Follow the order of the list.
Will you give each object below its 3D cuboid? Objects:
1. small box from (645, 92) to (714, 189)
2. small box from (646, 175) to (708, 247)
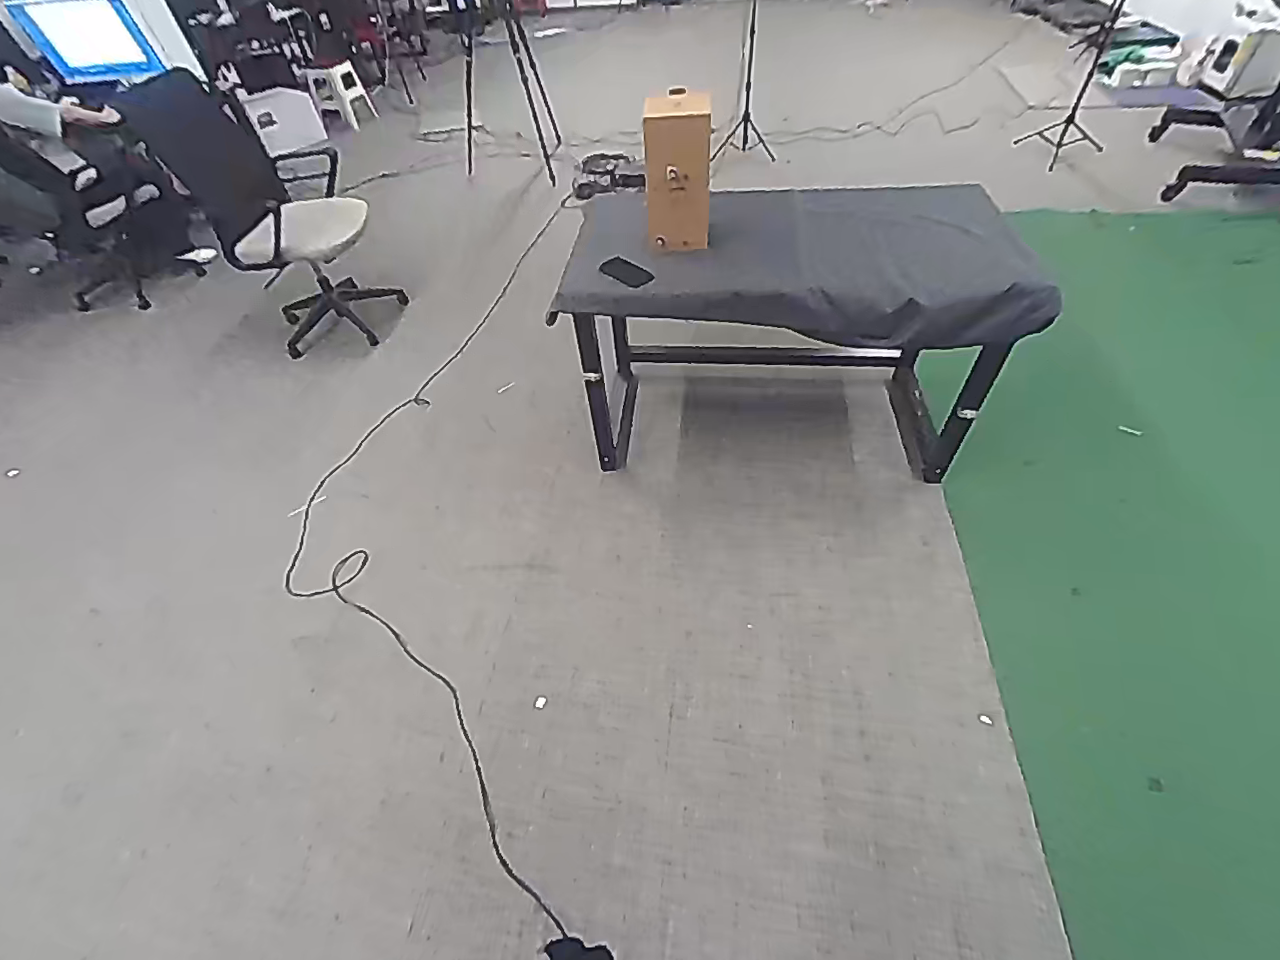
[{"bbox_3d":[0.102,-0.875,1.395,0.168,0.176,0.179,-1,51,5],"label":"small box"},{"bbox_3d":[0.109,-0.770,1.518,0.168,0.176,0.179,1,49,5],"label":"small box"}]
